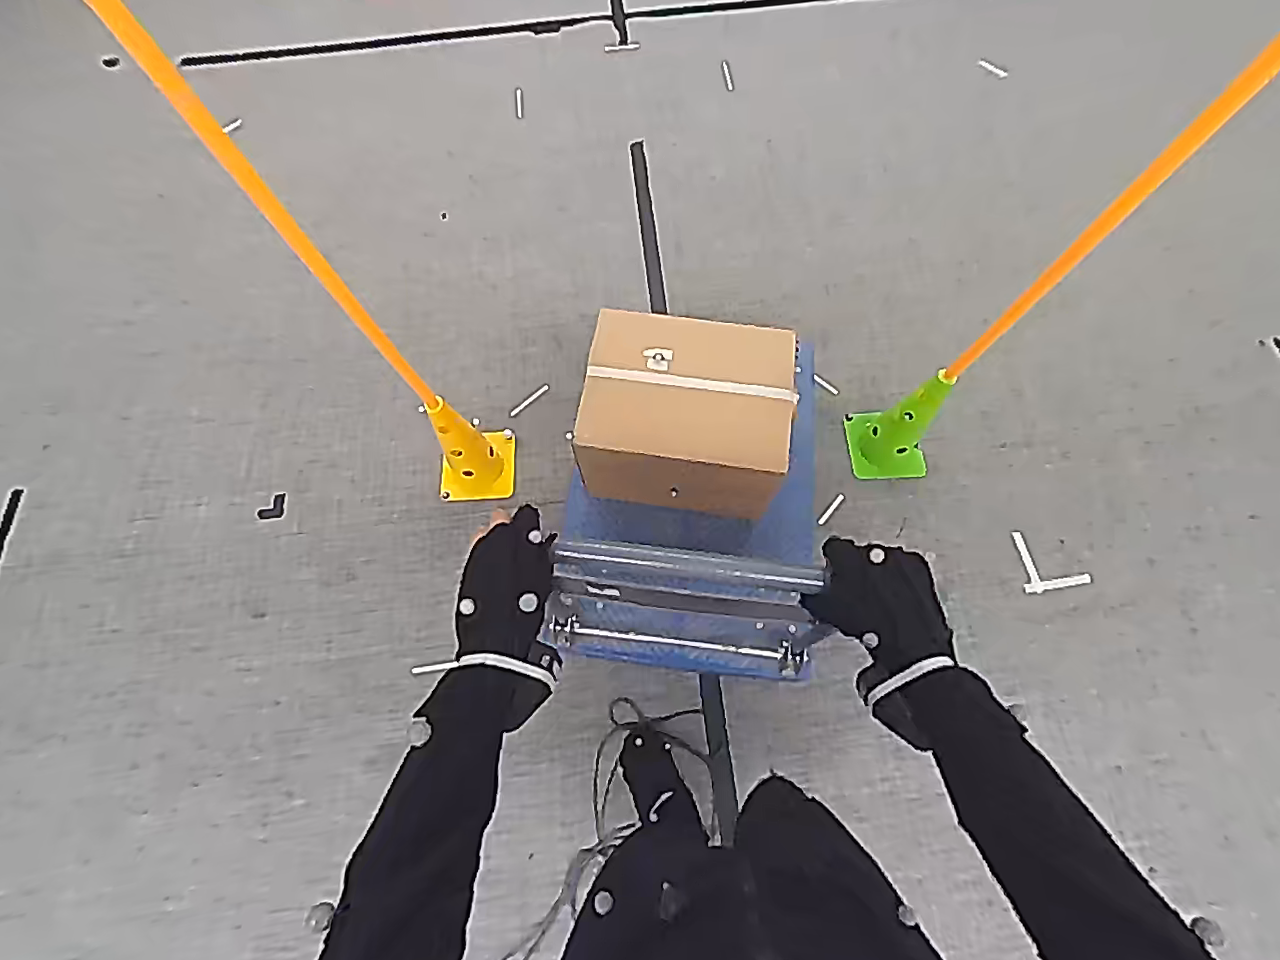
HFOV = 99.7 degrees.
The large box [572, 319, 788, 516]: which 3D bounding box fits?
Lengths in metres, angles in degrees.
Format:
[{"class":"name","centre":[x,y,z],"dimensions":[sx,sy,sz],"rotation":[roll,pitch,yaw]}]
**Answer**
[{"class":"large box","centre":[0.093,-0.123,1.203],"dimensions":[0.408,0.320,0.320],"rotation":[8,70,5]}]

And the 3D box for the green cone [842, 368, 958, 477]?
[{"class":"green cone","centre":[0.679,-0.163,1.360],"dimensions":[0.202,0.368,0.200],"rotation":[-3,69,-1]}]
